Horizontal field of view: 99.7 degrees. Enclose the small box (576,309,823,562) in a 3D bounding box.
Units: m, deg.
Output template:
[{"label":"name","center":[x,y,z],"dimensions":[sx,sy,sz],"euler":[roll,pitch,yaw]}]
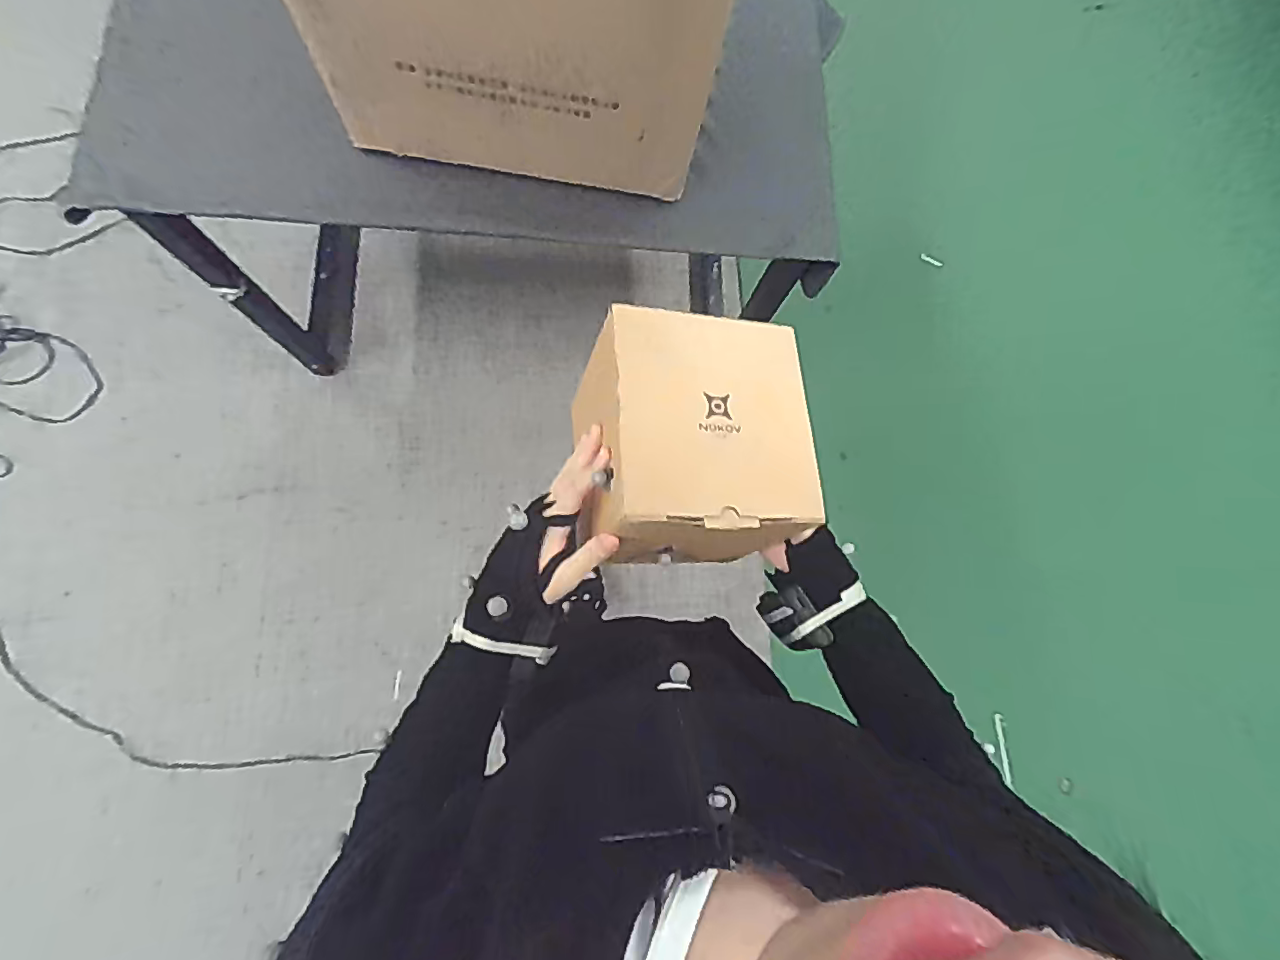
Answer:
[{"label":"small box","center":[0.037,-0.026,0.496],"dimensions":[0.168,0.176,0.179],"euler":[2,72,-18]}]
